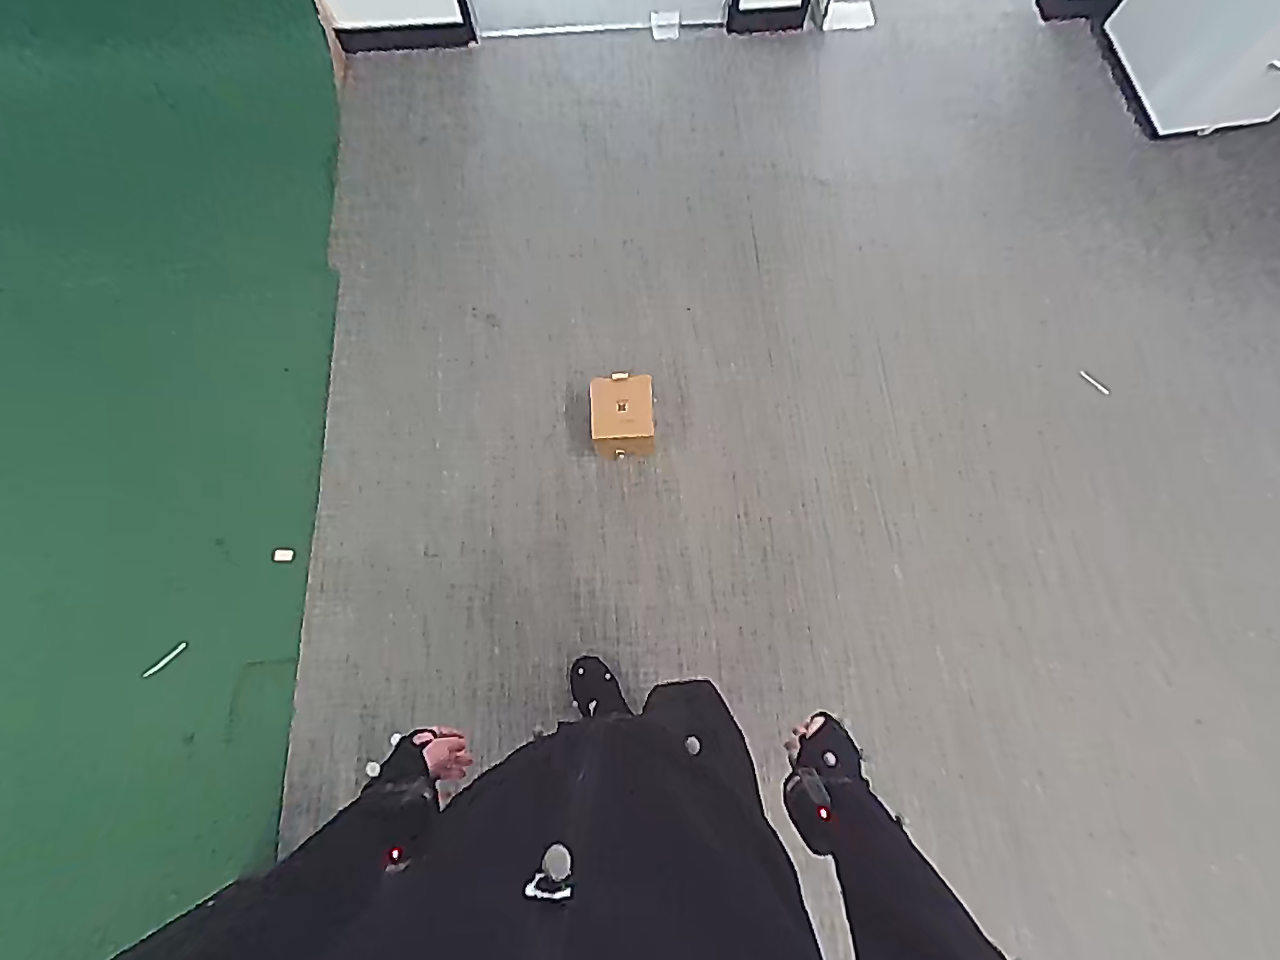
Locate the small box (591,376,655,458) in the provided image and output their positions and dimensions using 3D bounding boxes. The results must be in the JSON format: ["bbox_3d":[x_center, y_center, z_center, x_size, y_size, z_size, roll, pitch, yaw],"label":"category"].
[{"bbox_3d":[-0.044,-0.169,1.483,0.168,0.176,0.179,-2,74,2],"label":"small box"}]
